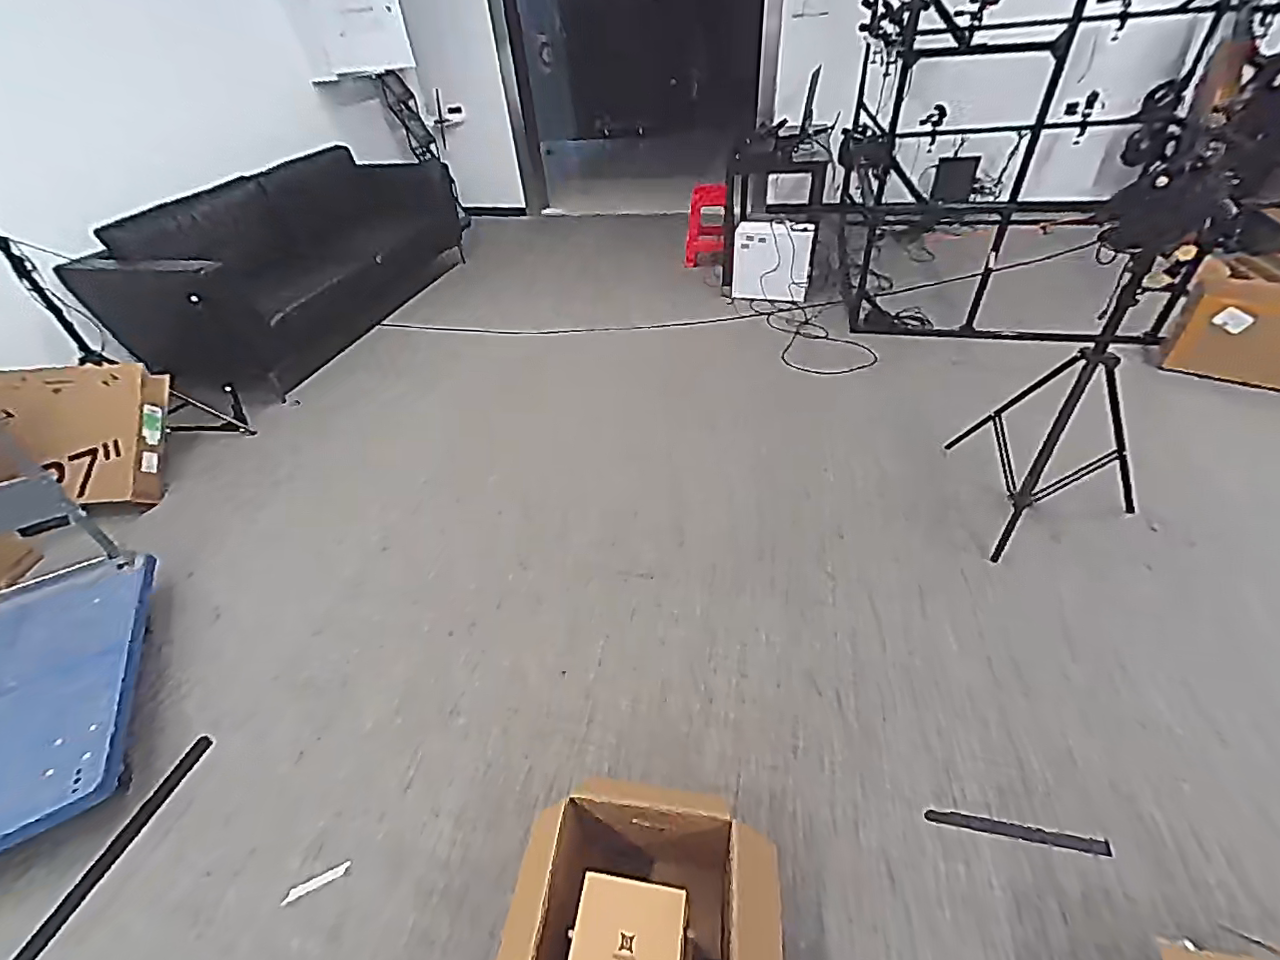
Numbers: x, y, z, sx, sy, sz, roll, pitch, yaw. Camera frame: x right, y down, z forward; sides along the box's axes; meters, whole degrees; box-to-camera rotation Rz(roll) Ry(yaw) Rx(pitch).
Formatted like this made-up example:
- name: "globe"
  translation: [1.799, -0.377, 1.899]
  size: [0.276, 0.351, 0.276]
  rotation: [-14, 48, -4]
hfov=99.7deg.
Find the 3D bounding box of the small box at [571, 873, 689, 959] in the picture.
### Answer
- name: "small box"
  translation: [-0.013, 0.761, 0.853]
  size: [0.168, 0.176, 0.179]
  rotation: [3, 41, 11]
